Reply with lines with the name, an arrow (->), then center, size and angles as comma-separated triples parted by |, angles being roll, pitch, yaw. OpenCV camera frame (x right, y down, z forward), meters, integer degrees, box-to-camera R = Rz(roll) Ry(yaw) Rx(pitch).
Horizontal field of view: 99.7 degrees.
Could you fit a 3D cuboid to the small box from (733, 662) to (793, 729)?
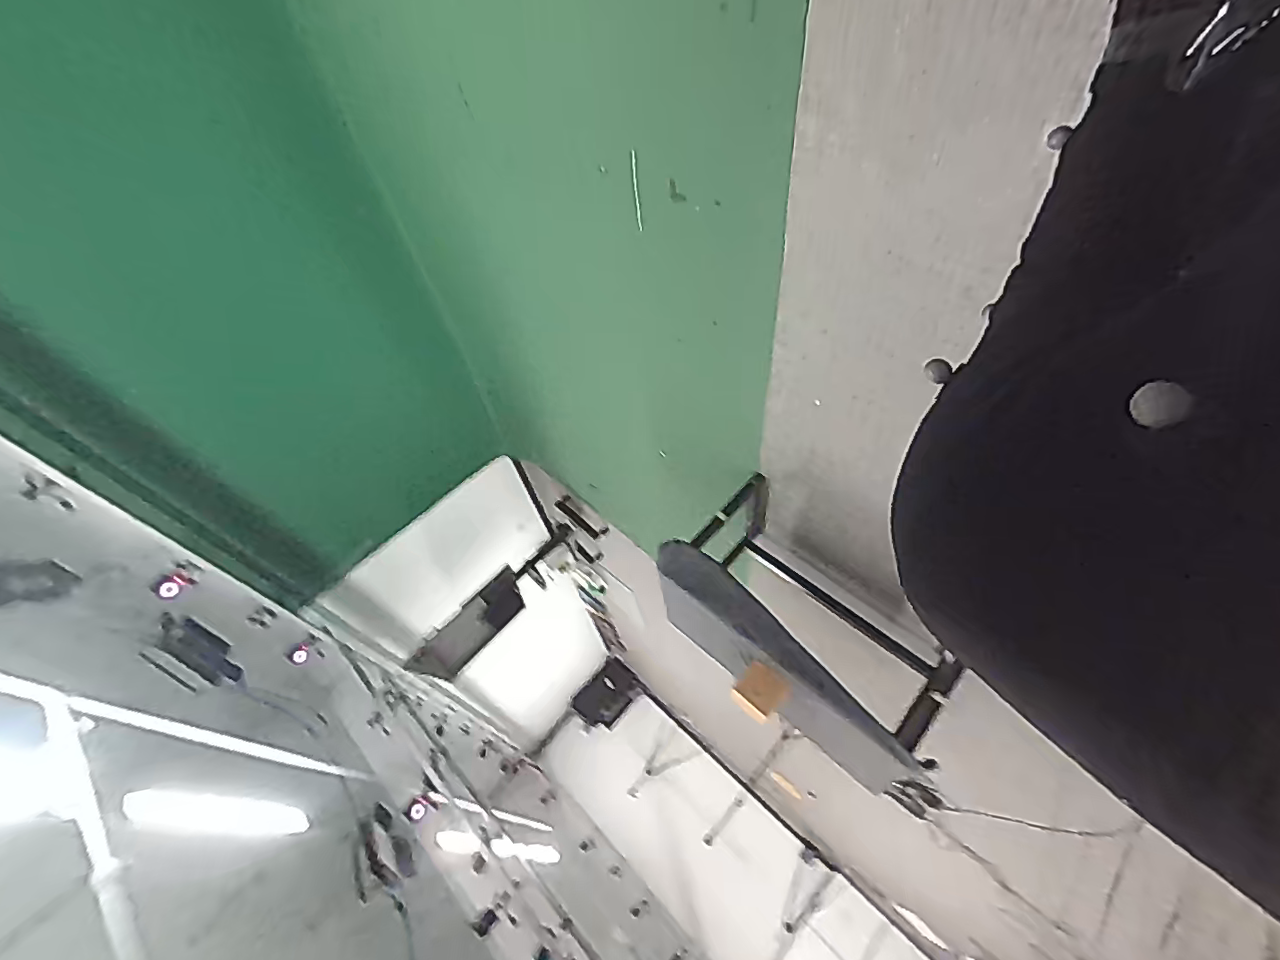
small box -> 0.511, 0.895, 2.250 | 0.179, 0.176, 0.168 | 37, 156, 28
